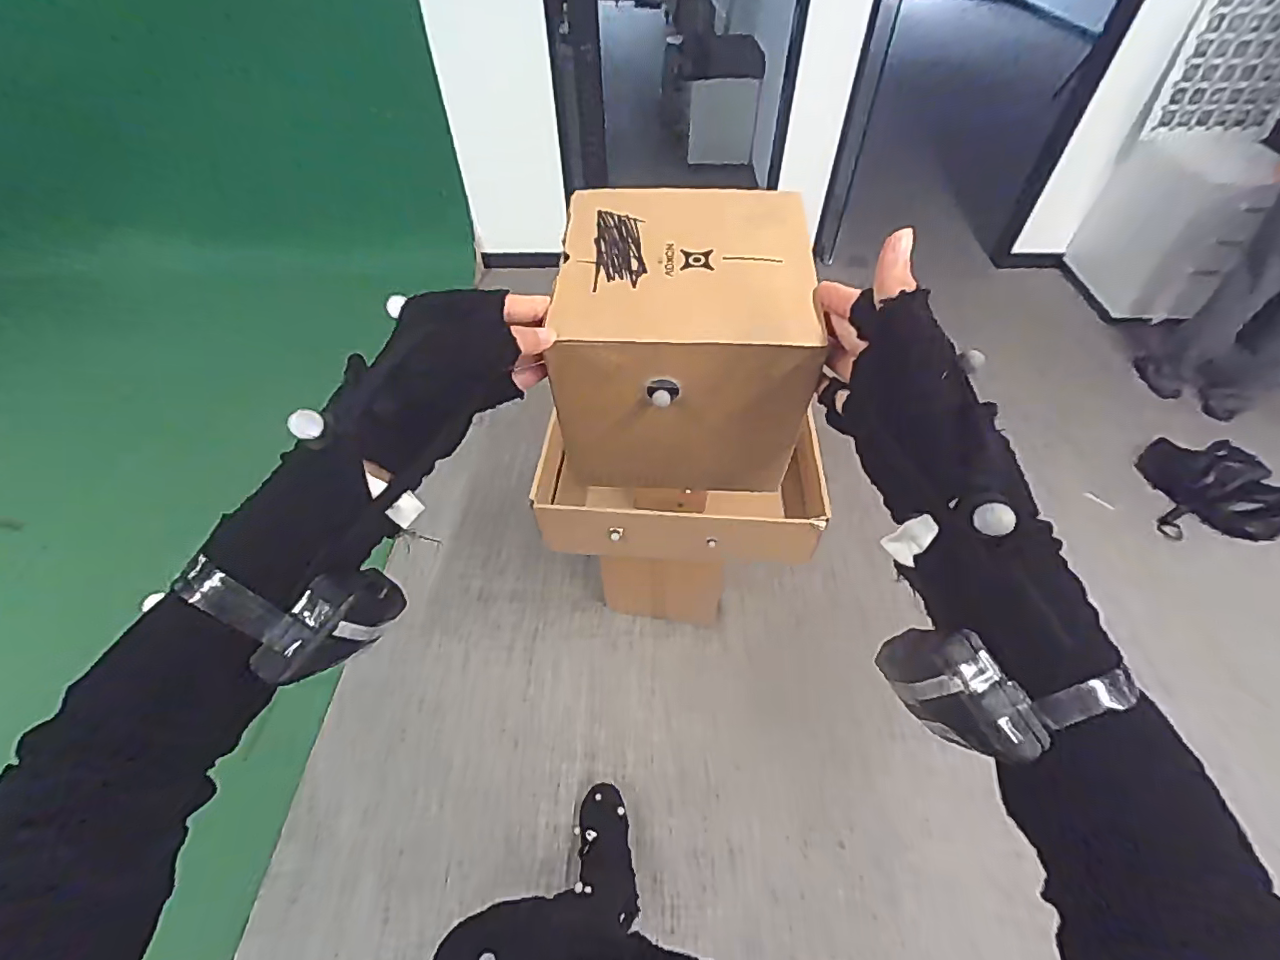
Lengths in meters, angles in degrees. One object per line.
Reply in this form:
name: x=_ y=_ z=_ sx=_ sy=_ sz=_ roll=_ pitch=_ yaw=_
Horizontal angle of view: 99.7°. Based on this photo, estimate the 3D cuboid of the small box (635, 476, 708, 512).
small box: x=0.076 y=-0.042 z=1.262 sx=0.168 sy=0.176 sz=0.179 roll=3 pitch=48 yaw=1

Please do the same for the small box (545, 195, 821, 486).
small box: x=0.033 y=-0.107 z=0.444 sx=0.179 sy=0.176 sz=0.168 roll=2 pitch=58 yaw=3
